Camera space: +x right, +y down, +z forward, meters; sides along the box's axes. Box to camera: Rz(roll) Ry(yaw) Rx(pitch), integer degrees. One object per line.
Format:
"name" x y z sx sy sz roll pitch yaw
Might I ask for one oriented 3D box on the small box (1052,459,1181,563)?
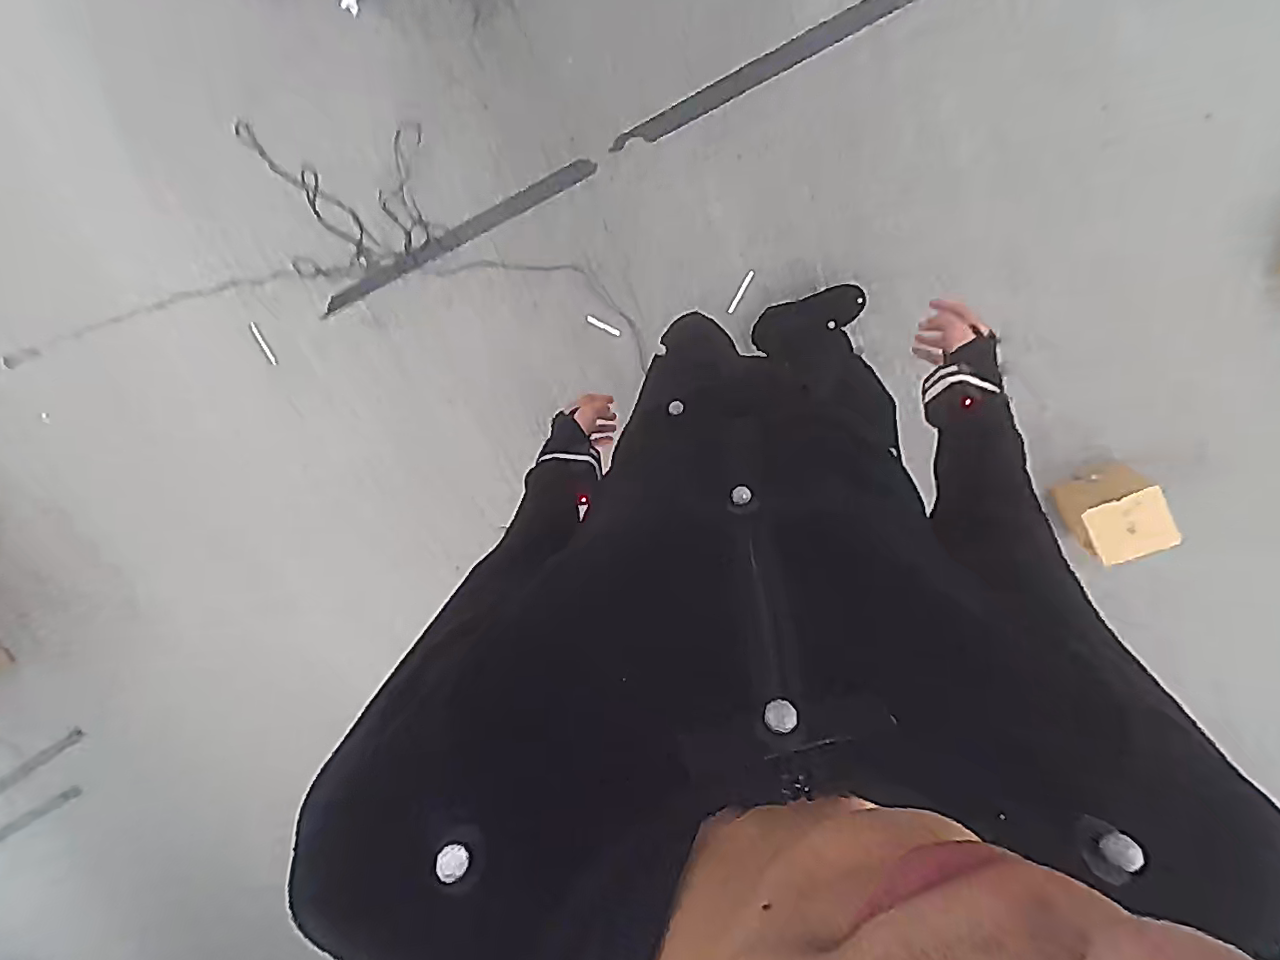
"small box" 1.204 0.074 1.378 0.168 0.176 0.179 -29 103 23
